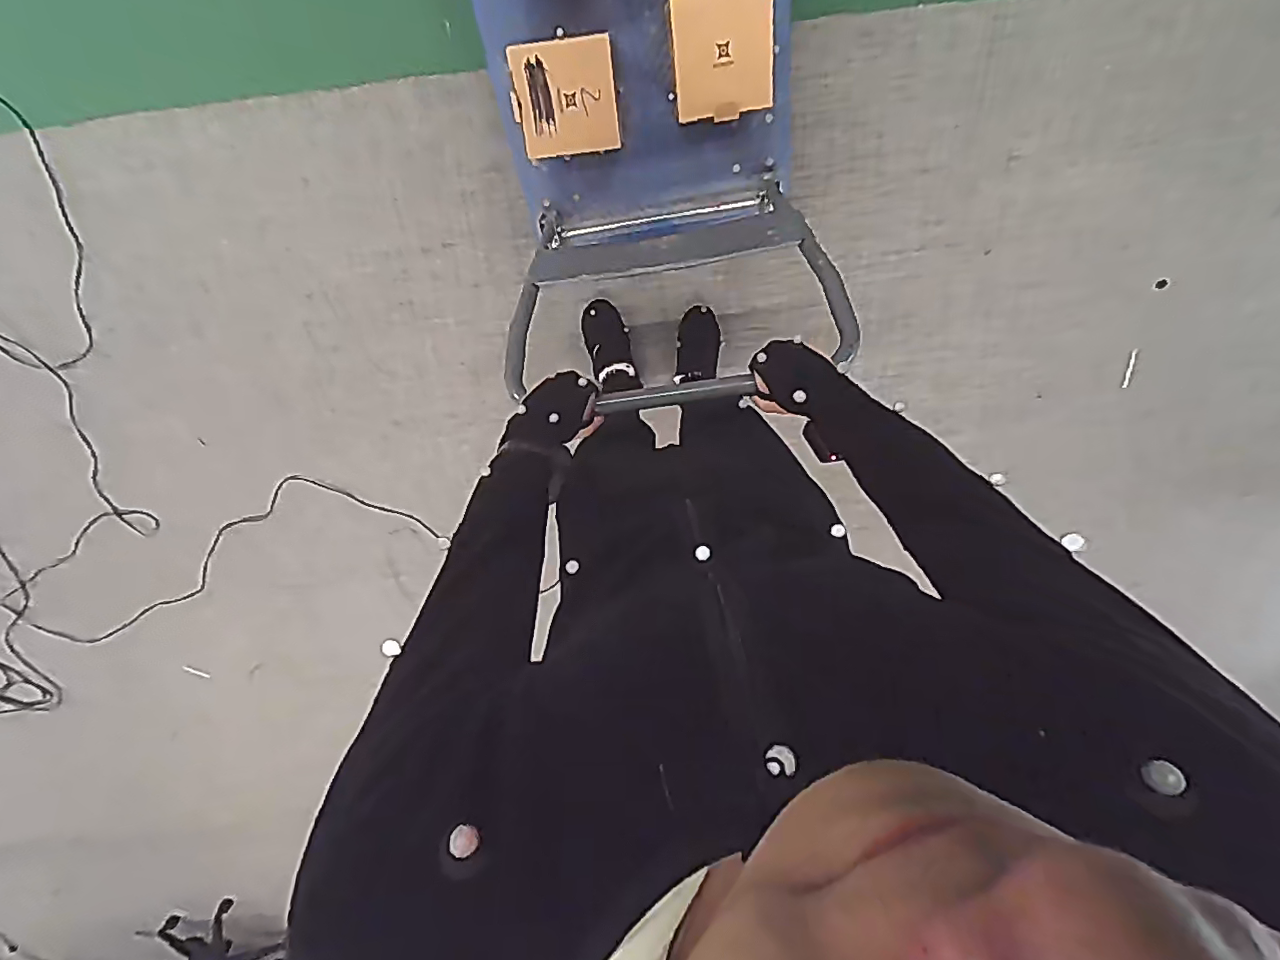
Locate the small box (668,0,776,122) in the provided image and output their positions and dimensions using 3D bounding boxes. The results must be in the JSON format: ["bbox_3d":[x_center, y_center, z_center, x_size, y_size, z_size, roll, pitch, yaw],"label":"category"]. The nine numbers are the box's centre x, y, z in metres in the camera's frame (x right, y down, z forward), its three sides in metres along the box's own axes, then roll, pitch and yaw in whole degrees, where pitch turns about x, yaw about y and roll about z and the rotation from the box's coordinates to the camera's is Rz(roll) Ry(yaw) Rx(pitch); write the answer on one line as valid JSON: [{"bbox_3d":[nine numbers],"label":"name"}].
[{"bbox_3d":[0.142,-0.762,0.965,0.168,0.176,0.179,-7,130,5],"label":"small box"}]
